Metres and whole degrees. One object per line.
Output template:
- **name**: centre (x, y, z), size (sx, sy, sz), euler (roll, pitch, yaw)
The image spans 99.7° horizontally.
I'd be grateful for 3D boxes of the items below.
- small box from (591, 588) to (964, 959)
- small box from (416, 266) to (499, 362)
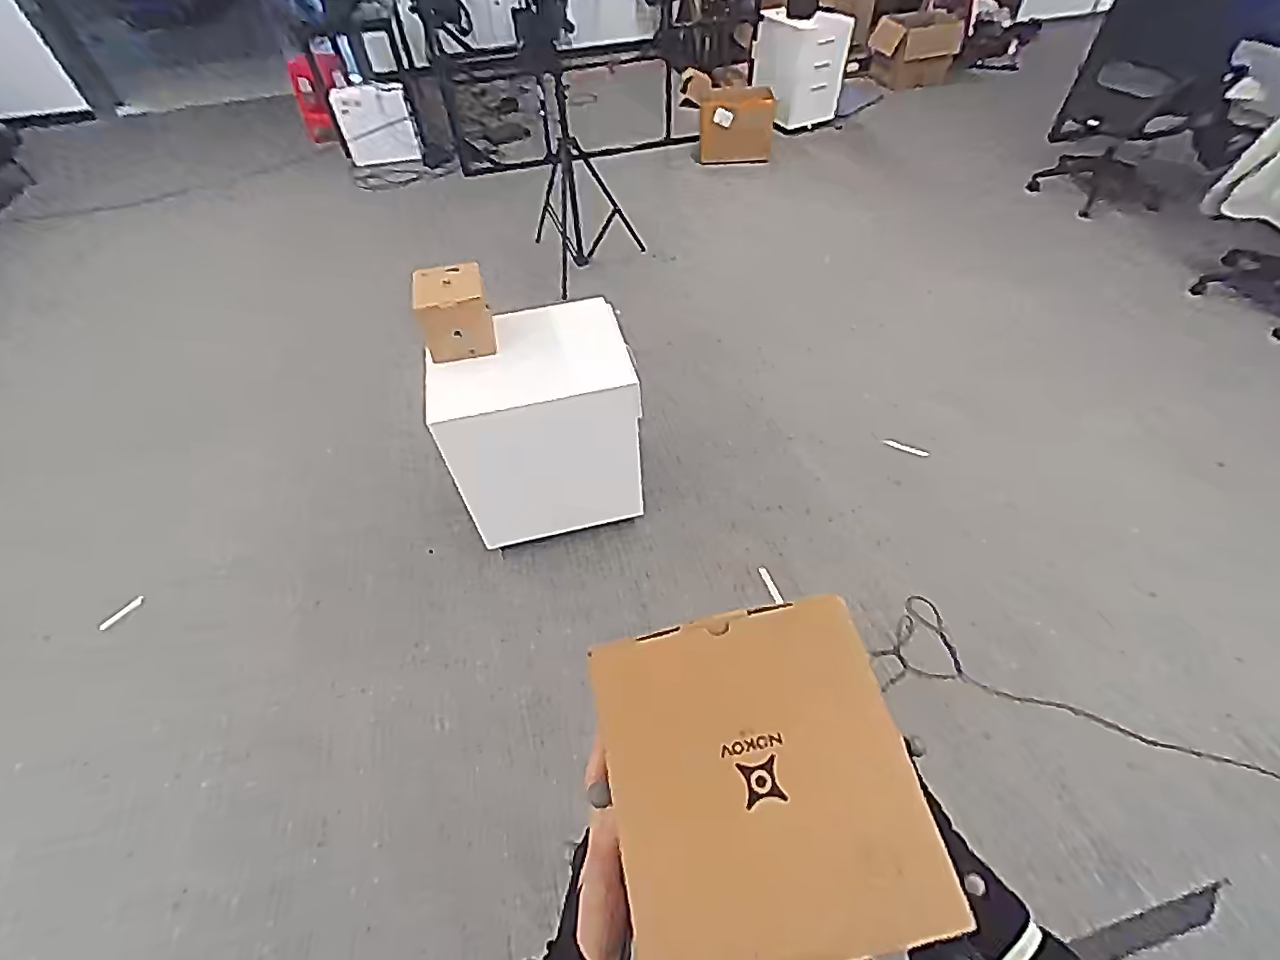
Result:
- **small box**: centre (0.071, 0.197, 0.373), size (0.168, 0.176, 0.179), euler (-13, 60, -3)
- **small box**: centre (-0.470, -0.425, 1.408), size (0.168, 0.176, 0.179), euler (-12, 53, -8)
